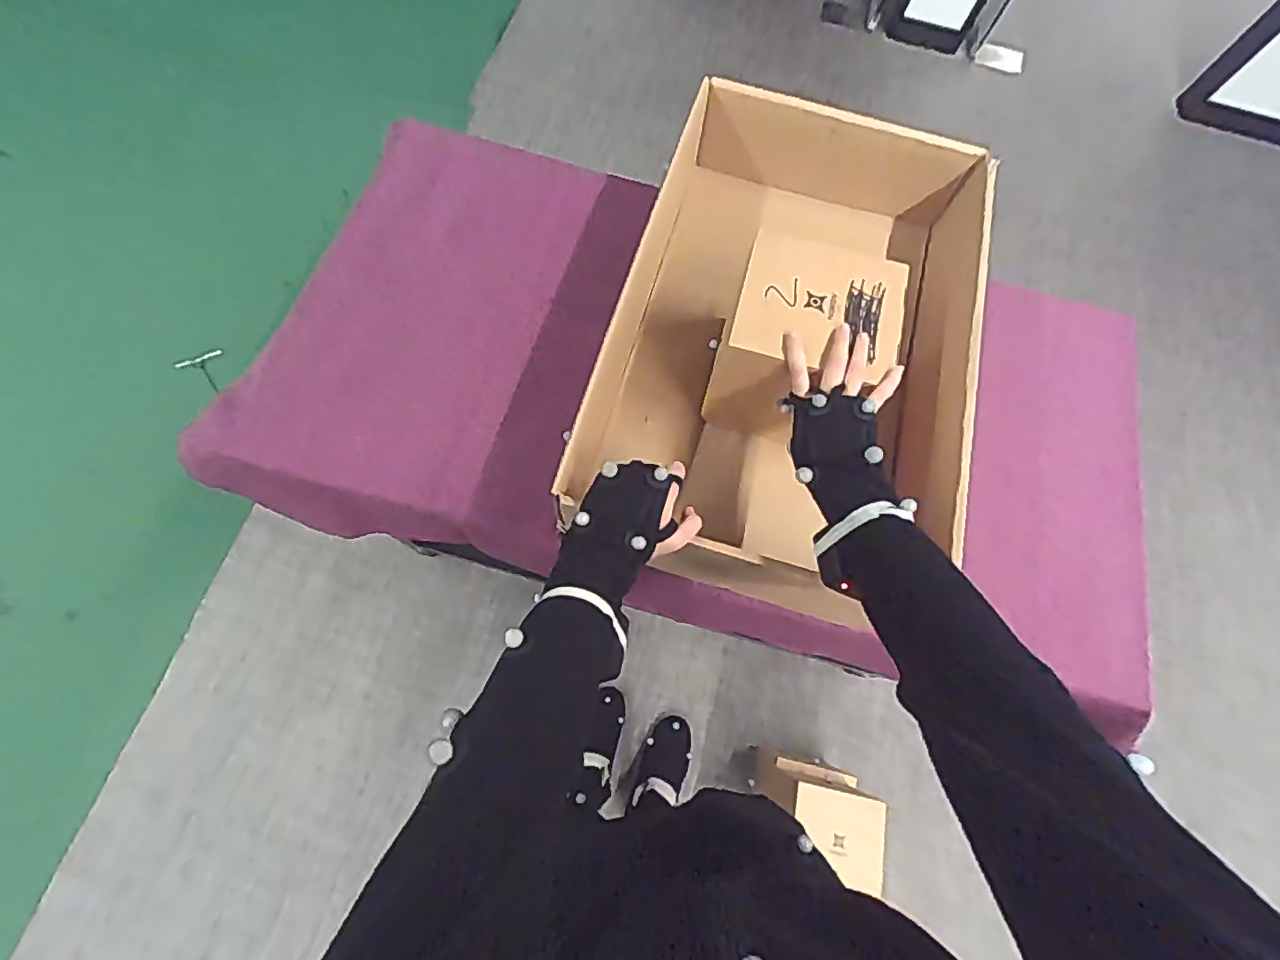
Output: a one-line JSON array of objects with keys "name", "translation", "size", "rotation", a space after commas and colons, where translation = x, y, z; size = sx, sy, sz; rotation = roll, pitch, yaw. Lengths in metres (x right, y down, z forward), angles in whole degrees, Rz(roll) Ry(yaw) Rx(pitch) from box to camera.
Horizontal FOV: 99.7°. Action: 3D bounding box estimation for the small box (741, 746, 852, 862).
[{"name": "small box", "translation": [0.340, 0.703, 1.194], "size": [0.179, 0.176, 0.168], "rotation": [15, 71, 1]}]
